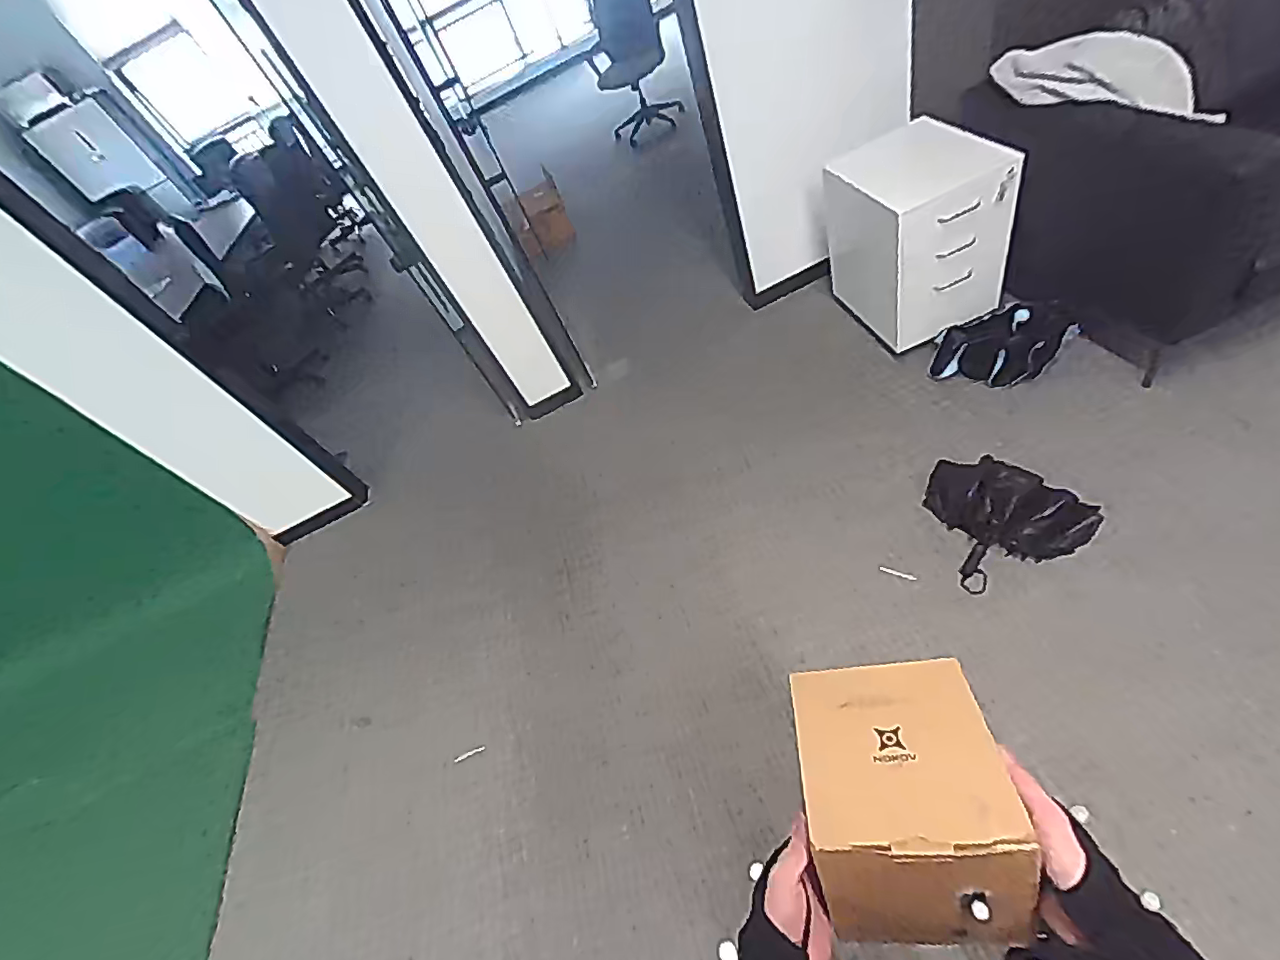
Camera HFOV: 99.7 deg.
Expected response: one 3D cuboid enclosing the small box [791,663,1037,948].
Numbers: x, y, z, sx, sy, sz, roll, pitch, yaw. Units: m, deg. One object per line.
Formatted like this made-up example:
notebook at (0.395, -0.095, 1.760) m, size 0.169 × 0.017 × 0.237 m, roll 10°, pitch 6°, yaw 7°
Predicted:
small box at (0.249, 0.308, 0.520) m, size 0.168 × 0.176 × 0.179 m, roll -10°, pitch 26°, yaw 14°
